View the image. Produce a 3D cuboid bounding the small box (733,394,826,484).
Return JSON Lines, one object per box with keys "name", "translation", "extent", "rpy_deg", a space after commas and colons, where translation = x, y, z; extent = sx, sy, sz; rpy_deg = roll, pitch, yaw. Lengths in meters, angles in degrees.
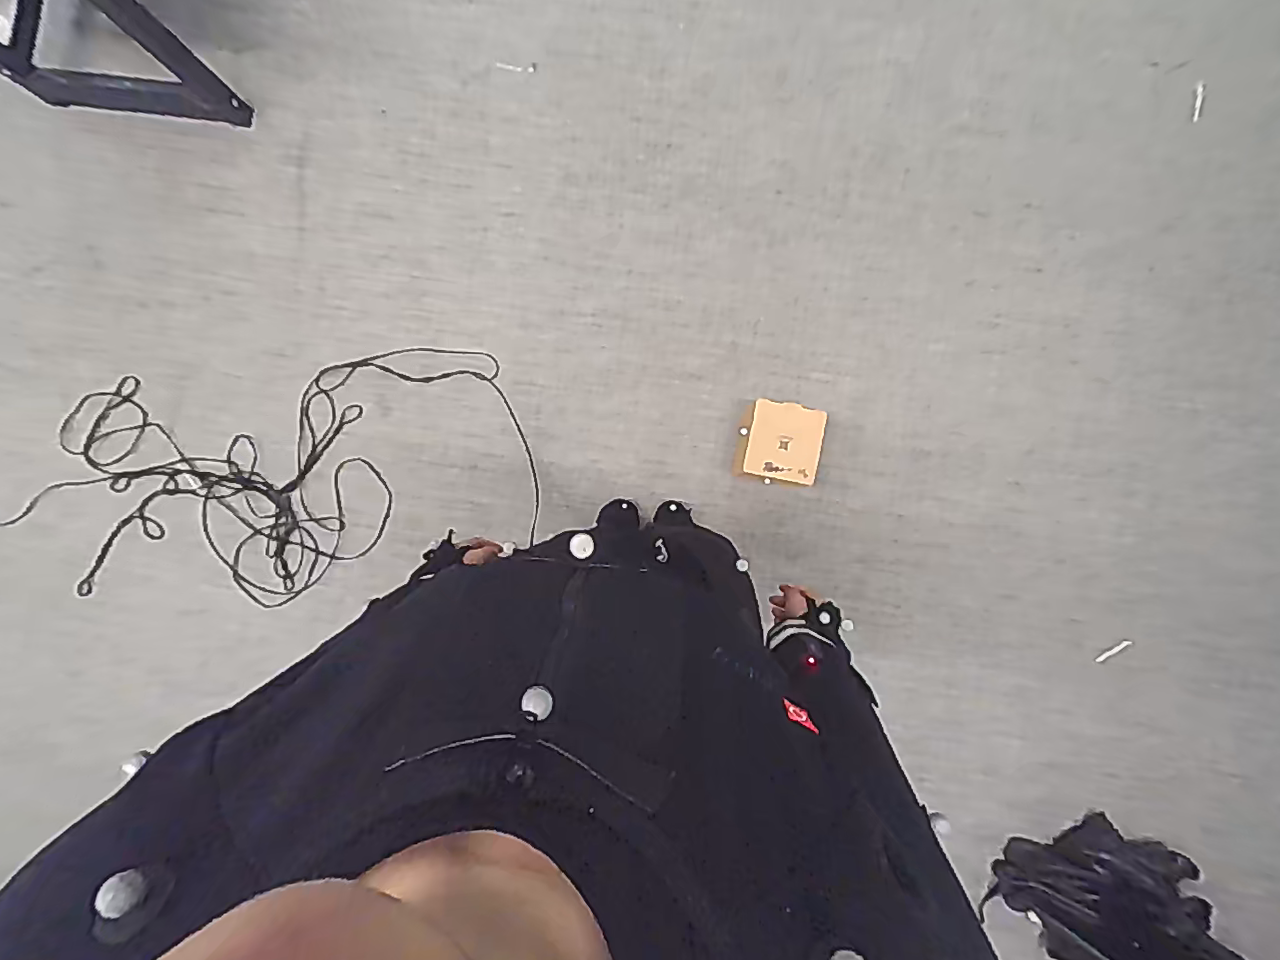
{"name": "small box", "translation": [0.329, -0.091, 1.304], "extent": [0.168, 0.176, 0.179], "rpy_deg": [11, 88, 2]}
